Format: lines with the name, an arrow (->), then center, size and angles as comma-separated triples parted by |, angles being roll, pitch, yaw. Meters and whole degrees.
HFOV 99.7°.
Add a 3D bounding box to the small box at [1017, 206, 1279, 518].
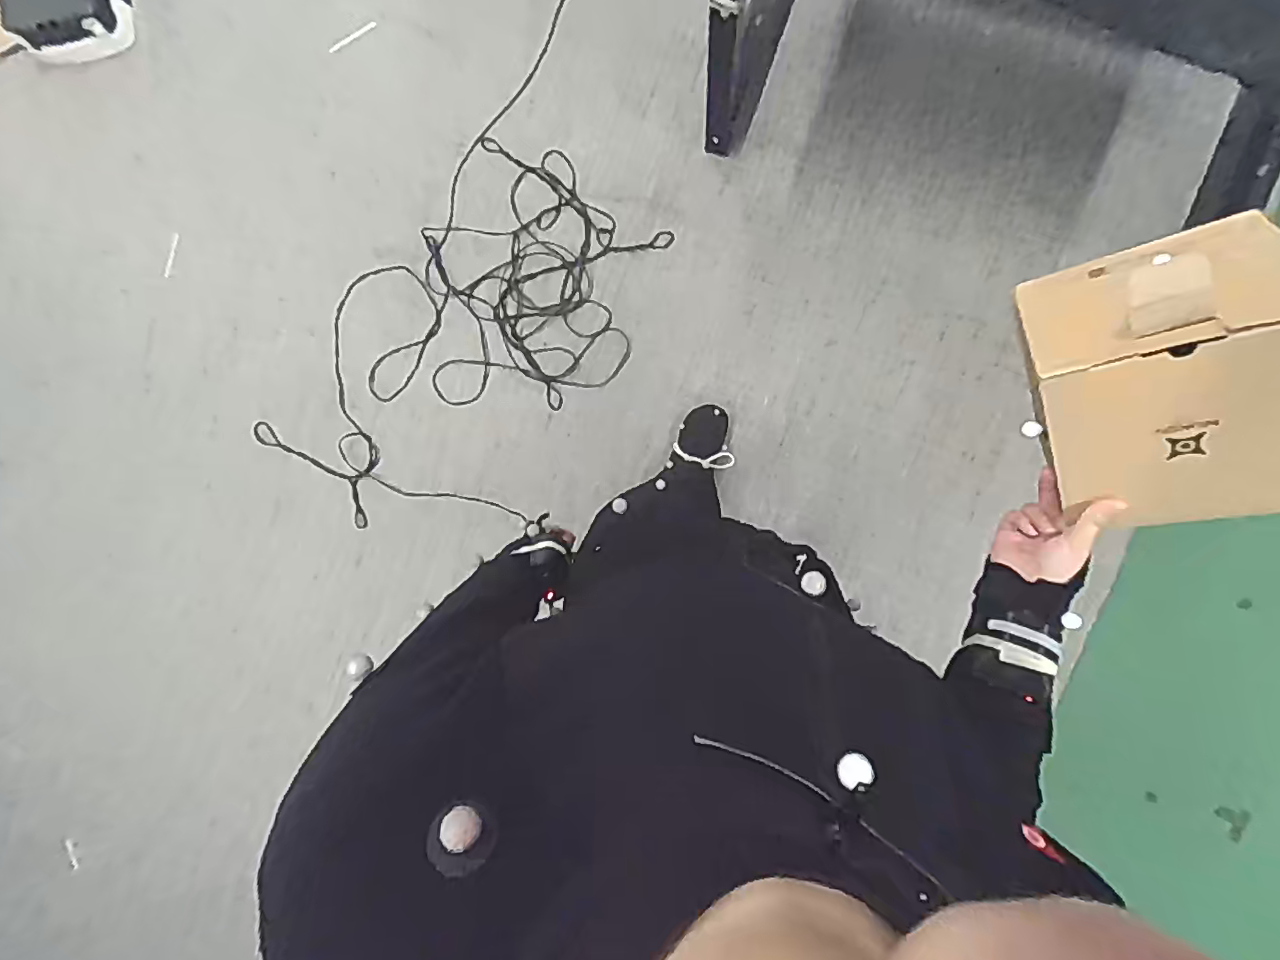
small box -> 0.442, -0.094, 0.462 | 0.168, 0.176, 0.179 | -13, 125, 34
